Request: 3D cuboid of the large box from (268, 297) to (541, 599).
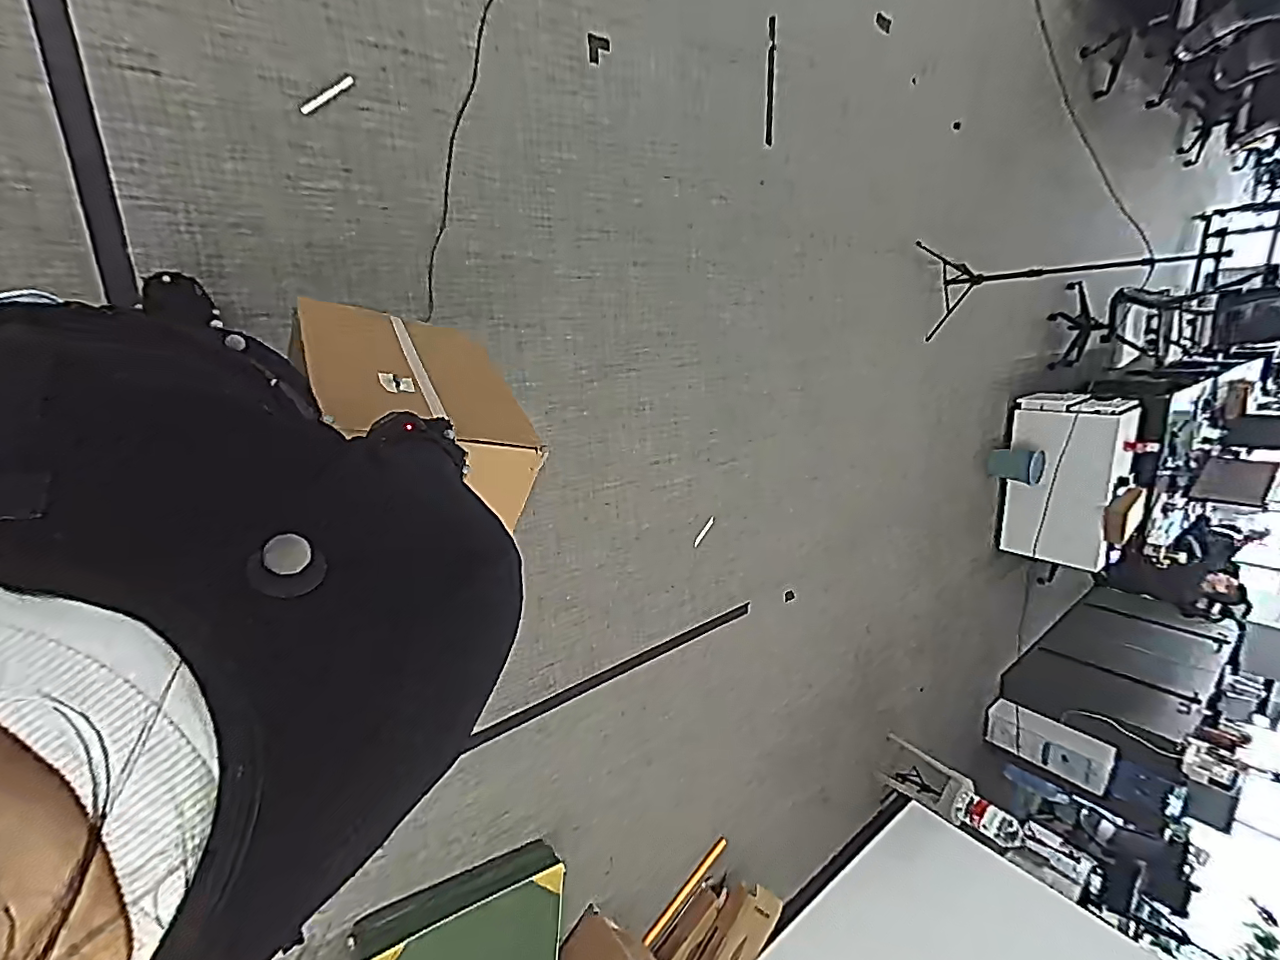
[{"bbox_3d":[-0.431,-0.056,0.938,0.320,0.408,0.320,3,127,-40],"label":"large box"}]
